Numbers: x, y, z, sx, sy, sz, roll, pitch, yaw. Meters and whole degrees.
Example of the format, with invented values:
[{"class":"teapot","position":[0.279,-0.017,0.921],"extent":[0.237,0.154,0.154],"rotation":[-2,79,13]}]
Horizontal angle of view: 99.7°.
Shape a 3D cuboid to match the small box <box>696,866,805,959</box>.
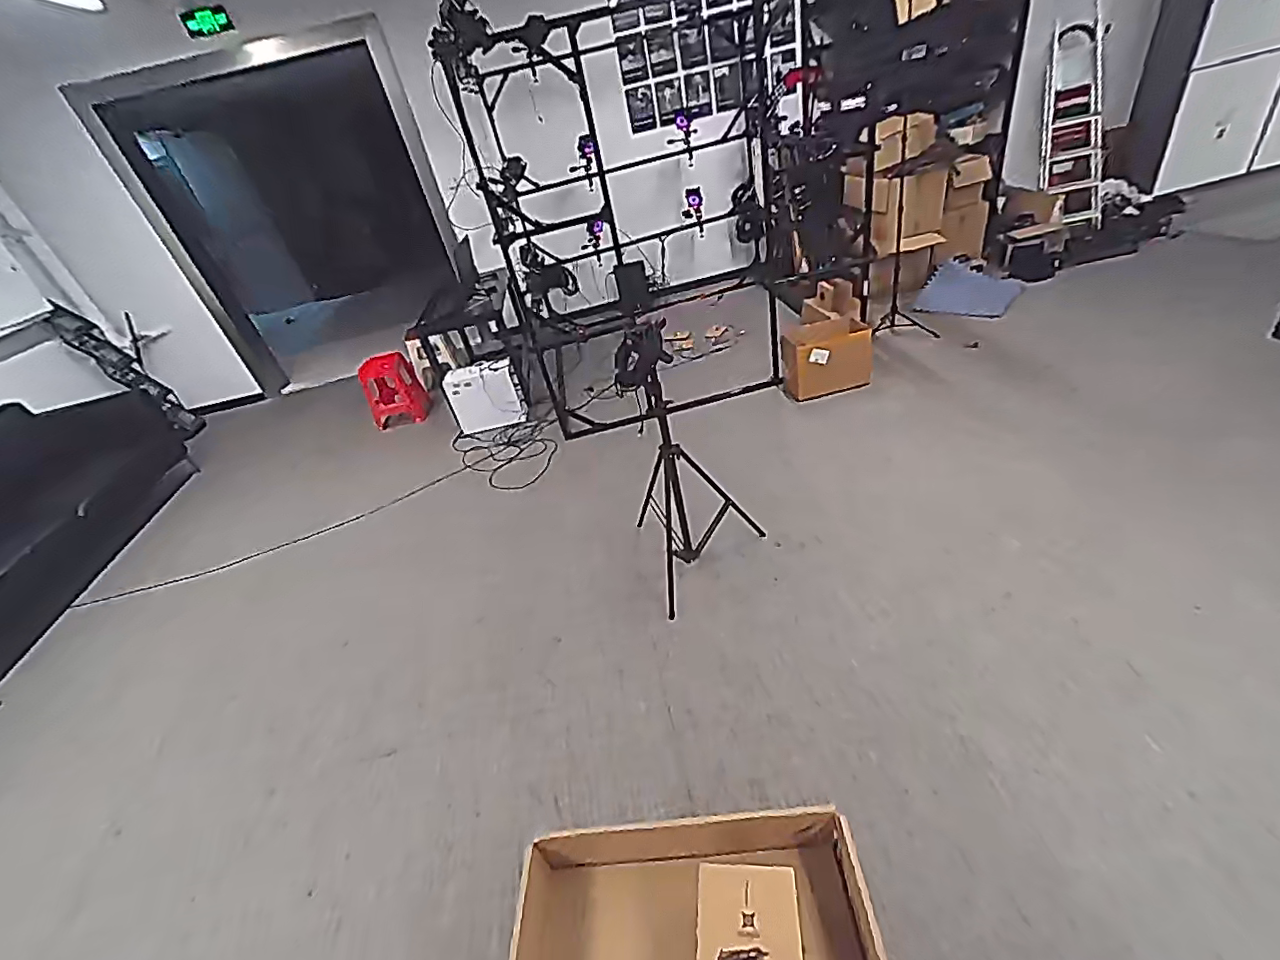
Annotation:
[{"class":"small box","position":[0.191,0.789,0.914],"extent":[0.168,0.176,0.179],"rotation":[-6,34,12]}]
